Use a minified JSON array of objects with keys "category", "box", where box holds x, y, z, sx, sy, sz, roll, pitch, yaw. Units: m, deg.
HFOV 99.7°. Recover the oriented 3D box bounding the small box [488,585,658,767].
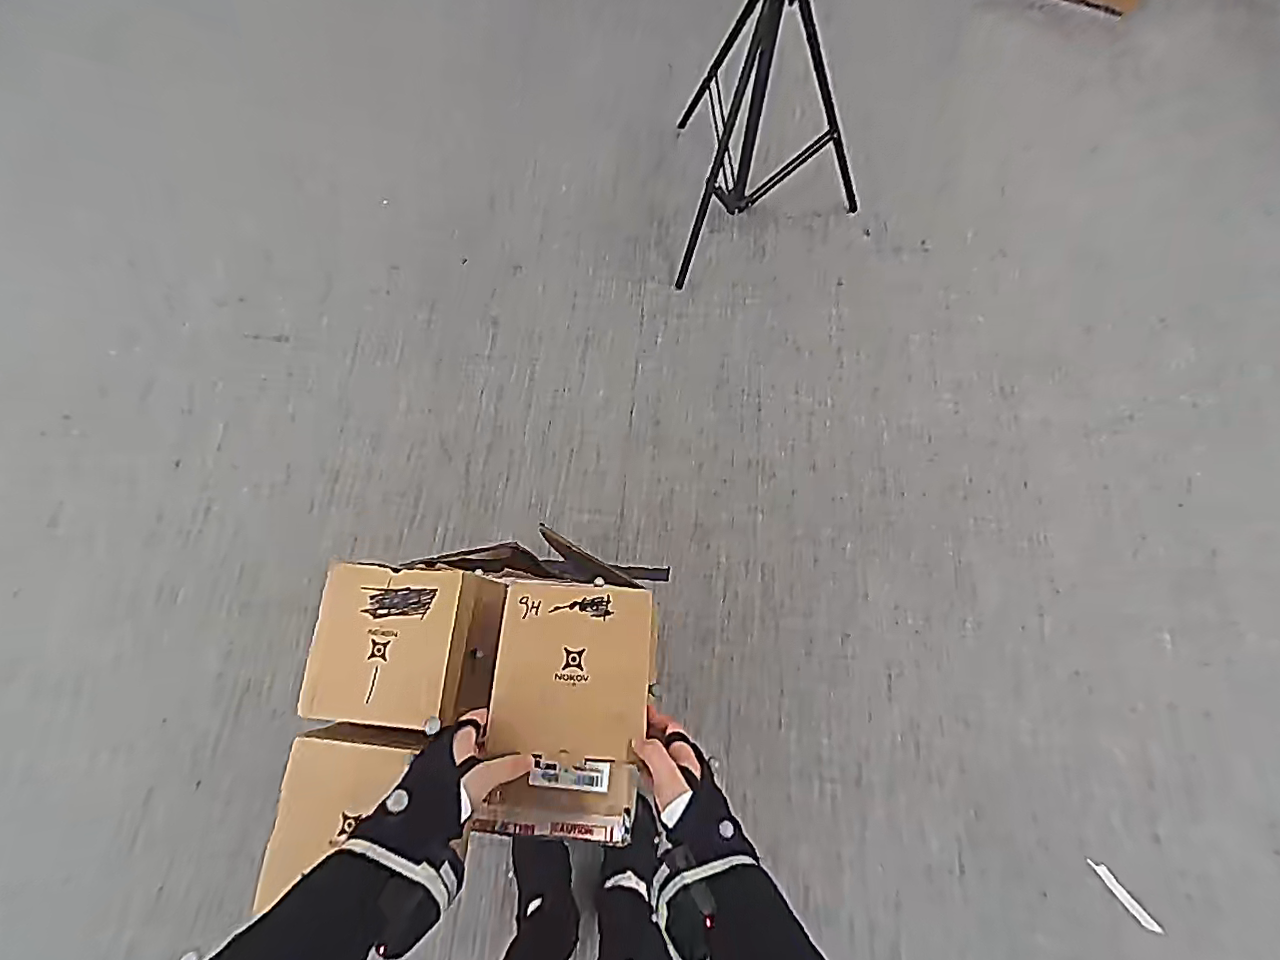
[{"category":"small box","box":[-0.066,0.231,0.649,0.168,0.176,0.179,2,69,4]}]
